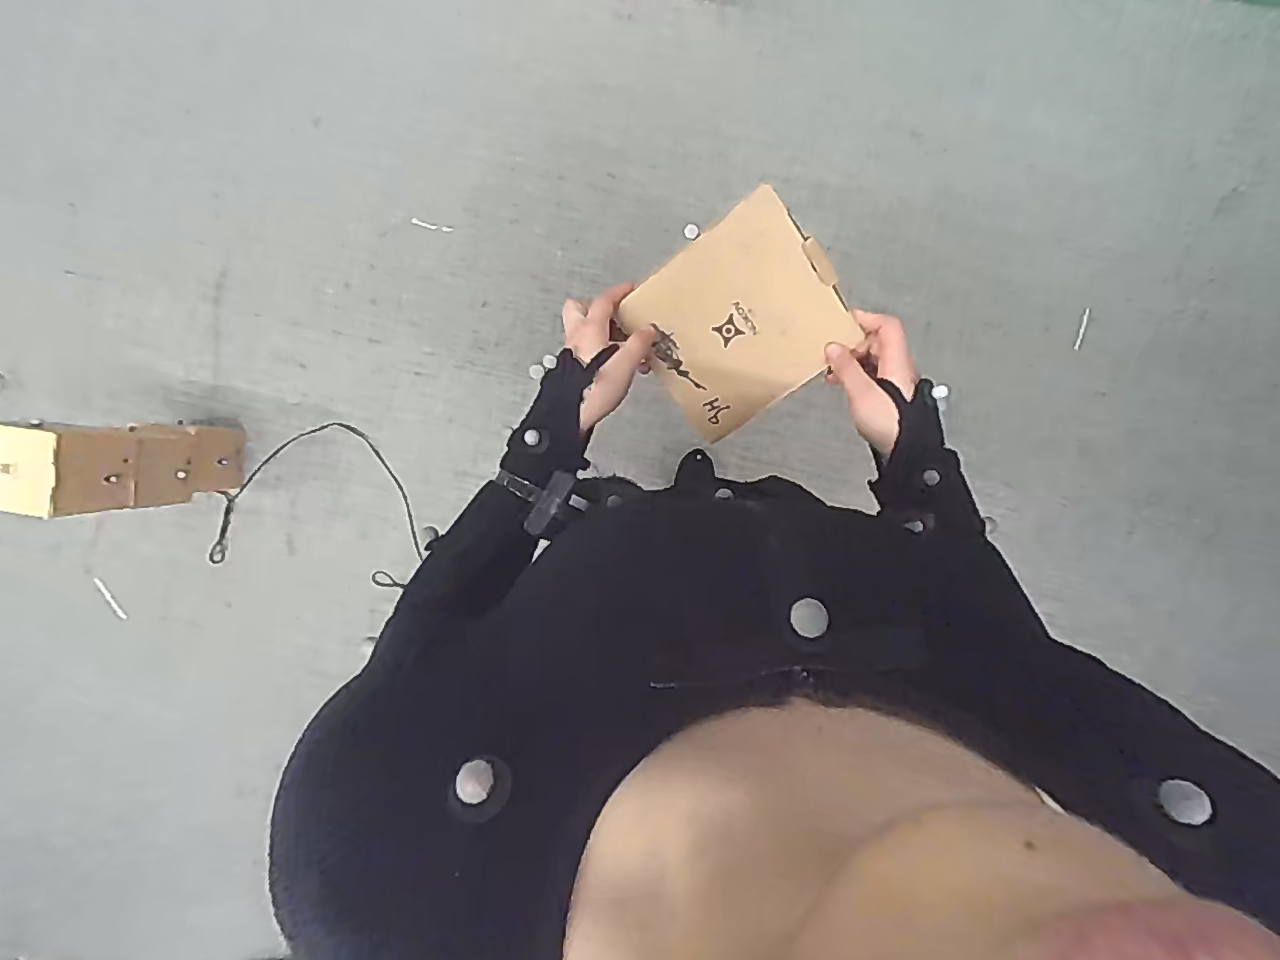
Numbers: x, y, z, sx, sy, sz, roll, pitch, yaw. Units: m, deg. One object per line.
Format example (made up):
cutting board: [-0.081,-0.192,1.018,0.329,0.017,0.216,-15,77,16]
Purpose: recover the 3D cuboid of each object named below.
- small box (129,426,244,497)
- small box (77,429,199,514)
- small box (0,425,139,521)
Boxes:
small box: [-1.185,-0.051,1.423,0.179,0.176,0.168,5,93,2]
small box: [-1.188,-0.023,1.260,0.179,0.176,0.168,9,94,0]
small box: [-1.187,-0.018,1.098,0.179,0.176,0.168,8,94,0]
